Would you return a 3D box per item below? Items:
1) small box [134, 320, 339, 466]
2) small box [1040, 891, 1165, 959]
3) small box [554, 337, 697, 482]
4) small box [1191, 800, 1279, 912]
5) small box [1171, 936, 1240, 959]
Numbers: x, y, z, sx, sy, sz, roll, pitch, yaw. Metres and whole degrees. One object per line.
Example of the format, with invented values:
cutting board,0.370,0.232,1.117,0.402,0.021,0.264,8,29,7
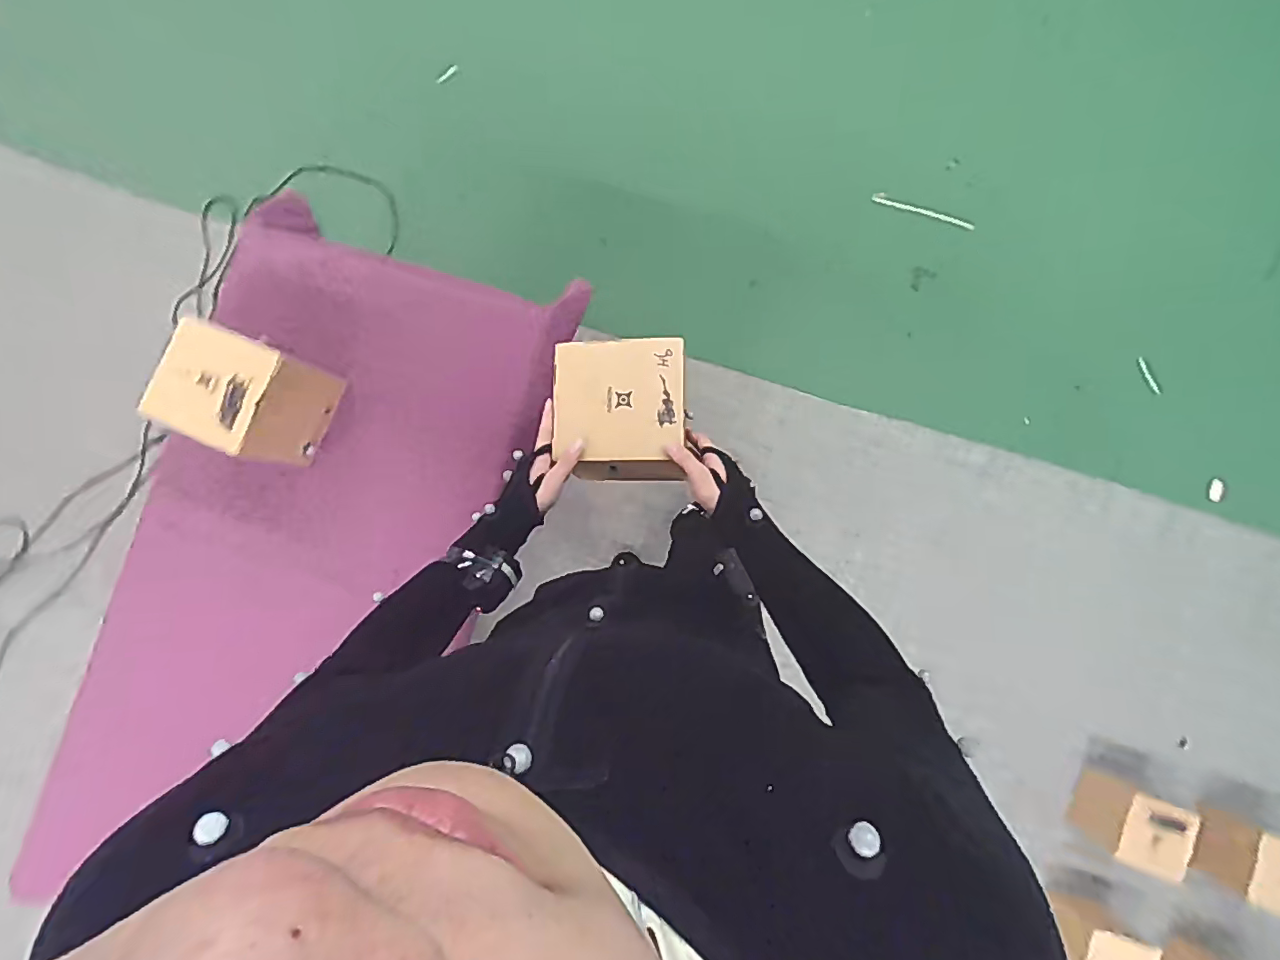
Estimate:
small box,-0.634,-0.129,0.876,0.179,0.176,0.168,23,87,5
small box,1.178,1.213,1.390,0.168,0.176,0.179,16,87,4
small box,-0.011,-0.091,0.774,0.179,0.176,0.168,1,80,8
small box,1.587,0.972,1.388,0.168,0.176,0.179,17,85,3
small box,1.485,1.314,1.361,0.168,0.176,0.179,17,86,5
